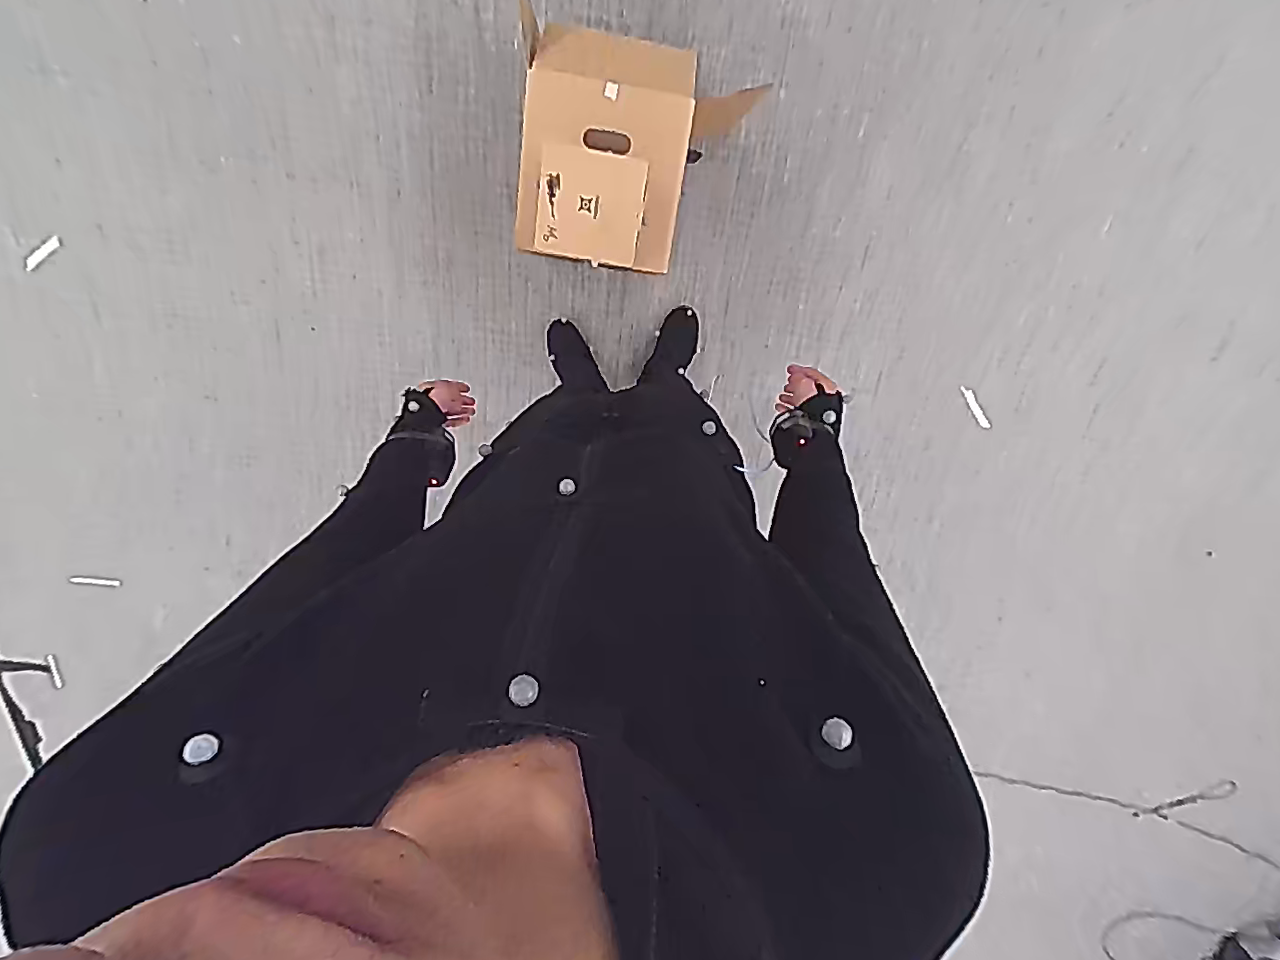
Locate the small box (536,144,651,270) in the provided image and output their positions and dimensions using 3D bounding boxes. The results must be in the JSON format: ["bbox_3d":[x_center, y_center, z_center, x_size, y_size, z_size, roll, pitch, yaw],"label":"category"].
[{"bbox_3d":[-0.083,-0.491,0.987,0.179,0.176,0.168,9,112,-5],"label":"small box"}]
